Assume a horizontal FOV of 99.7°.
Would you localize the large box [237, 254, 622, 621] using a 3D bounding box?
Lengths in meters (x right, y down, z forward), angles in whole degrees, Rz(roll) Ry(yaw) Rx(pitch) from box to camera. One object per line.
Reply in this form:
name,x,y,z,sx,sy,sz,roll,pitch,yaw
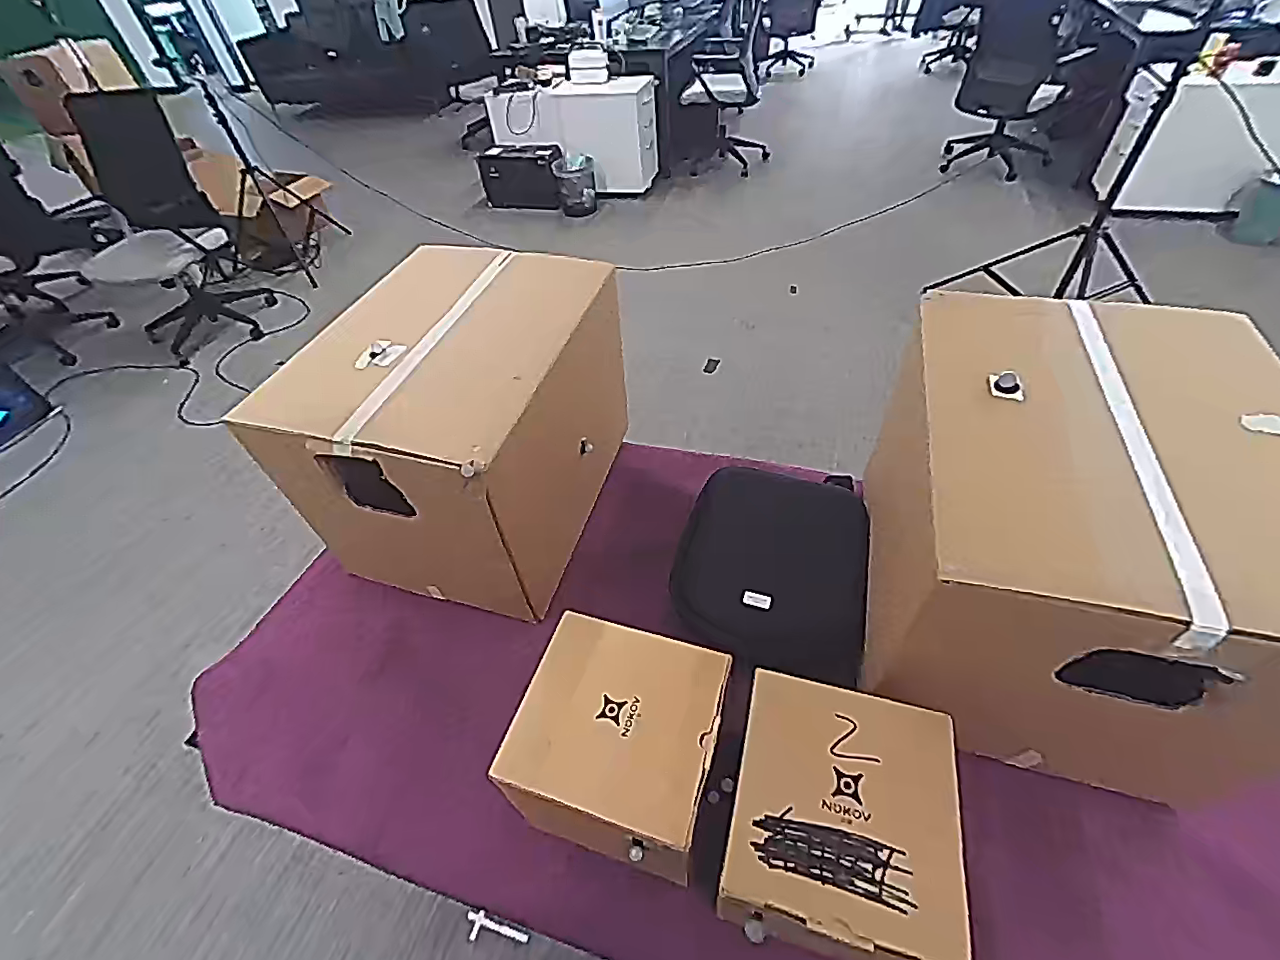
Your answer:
large box,-0.230,-0.071,0.779,0.320,0.320,0.408,10,51,13
